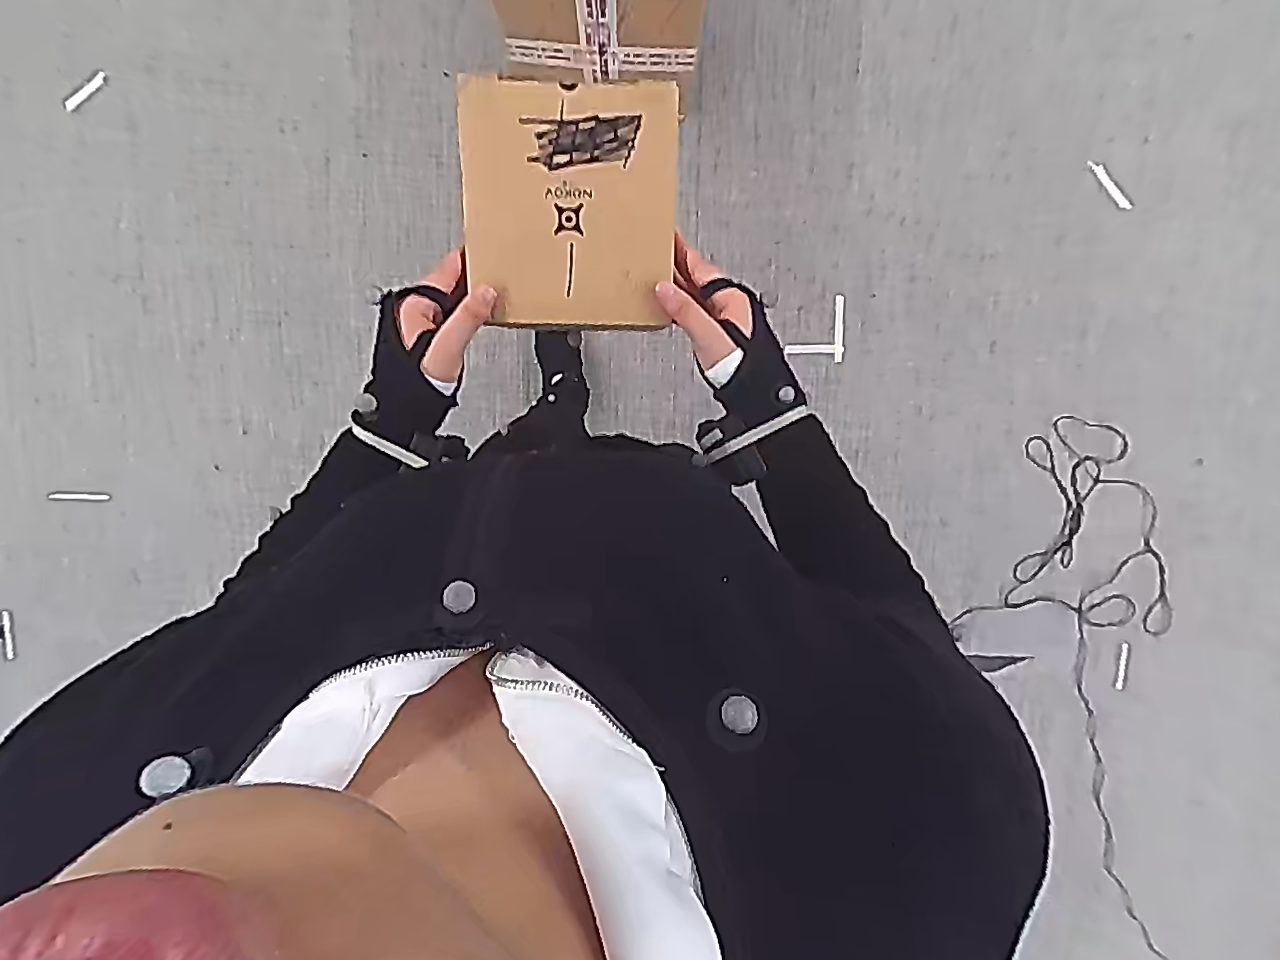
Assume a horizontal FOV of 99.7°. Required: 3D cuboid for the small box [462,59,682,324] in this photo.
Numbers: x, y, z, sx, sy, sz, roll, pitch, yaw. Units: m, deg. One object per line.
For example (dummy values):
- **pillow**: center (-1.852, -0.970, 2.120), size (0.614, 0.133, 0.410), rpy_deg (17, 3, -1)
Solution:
- **small box**: center (-0.057, -0.240, 0.496), size (0.168, 0.176, 0.179), rpy_deg (1, 104, -3)
